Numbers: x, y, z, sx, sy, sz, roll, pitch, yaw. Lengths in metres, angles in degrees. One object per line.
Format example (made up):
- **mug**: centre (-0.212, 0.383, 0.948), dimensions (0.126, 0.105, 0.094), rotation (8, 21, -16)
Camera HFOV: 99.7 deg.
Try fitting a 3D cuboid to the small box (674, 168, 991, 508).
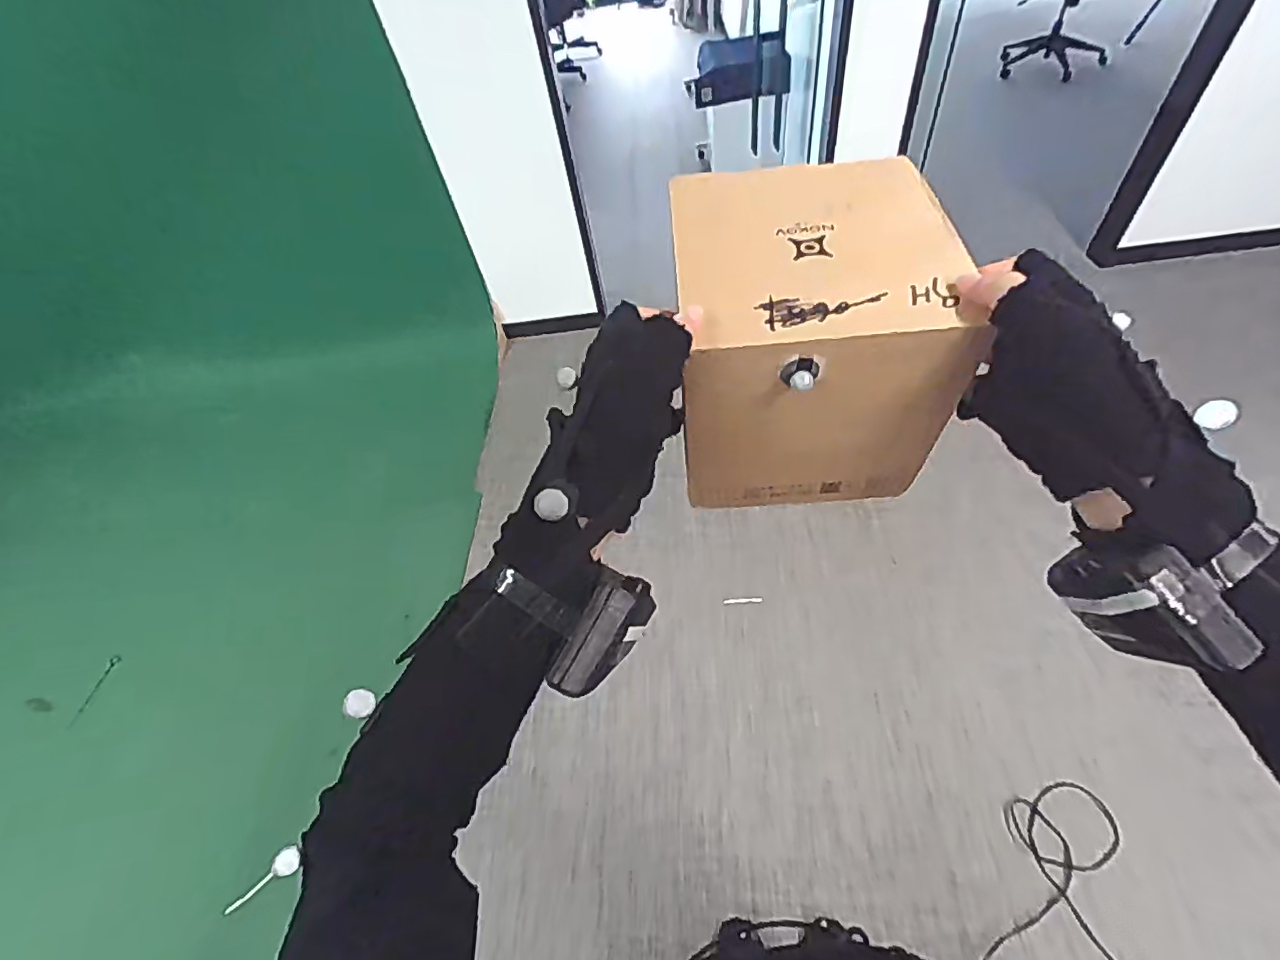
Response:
- **small box**: centre (0.111, -0.098, 0.401), dimensions (0.168, 0.176, 0.179), rotation (-4, 55, 5)
